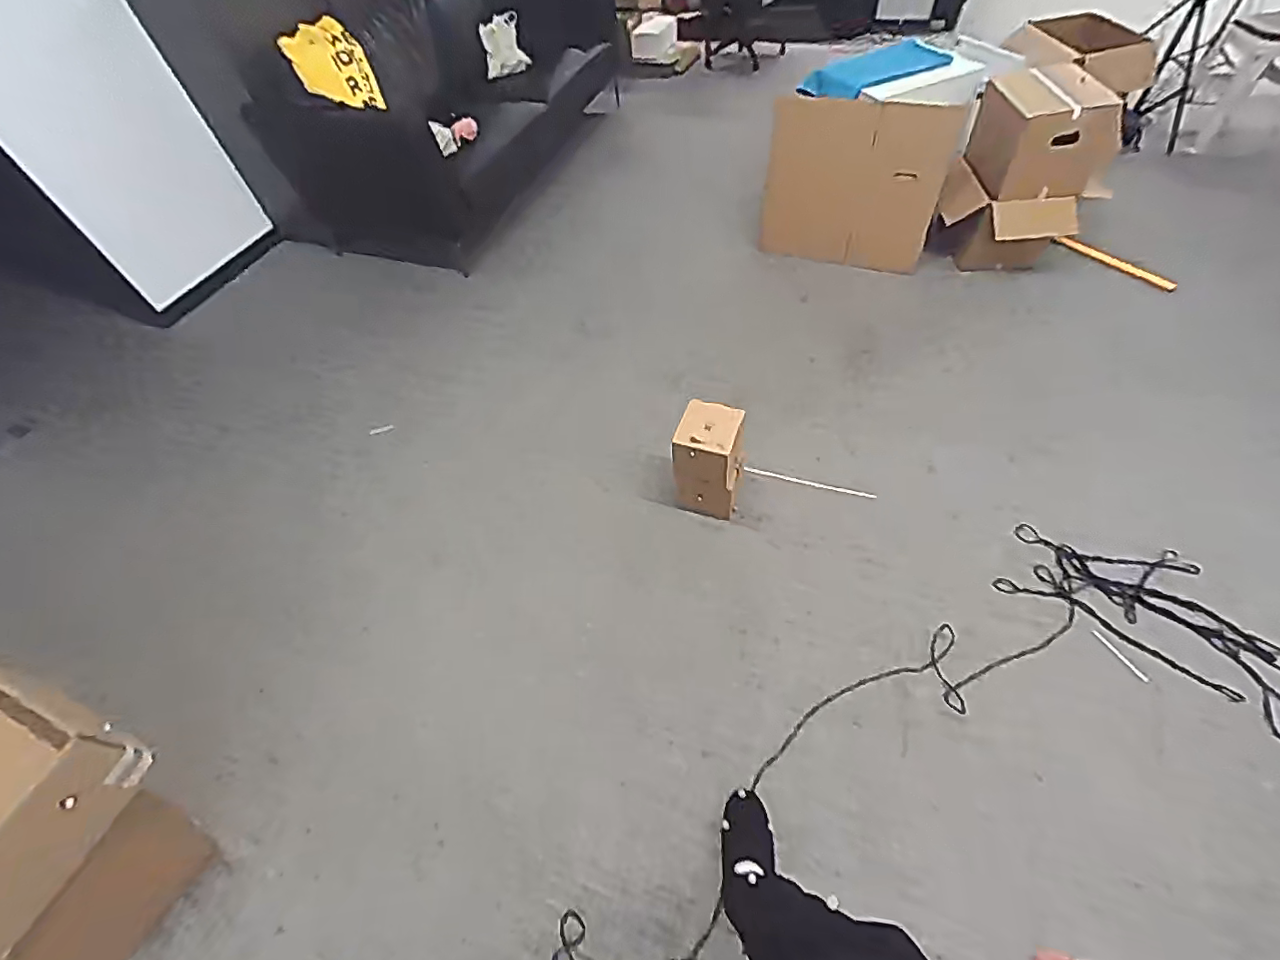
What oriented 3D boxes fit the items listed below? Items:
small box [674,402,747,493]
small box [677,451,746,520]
[{"bbox_3d":[0.204,-0.094,1.574,0.168,0.176,0.179,15,55,18],"label":"small box"},{"bbox_3d":[0.226,0.006,1.702,0.179,0.176,0.168,13,55,17],"label":"small box"}]
